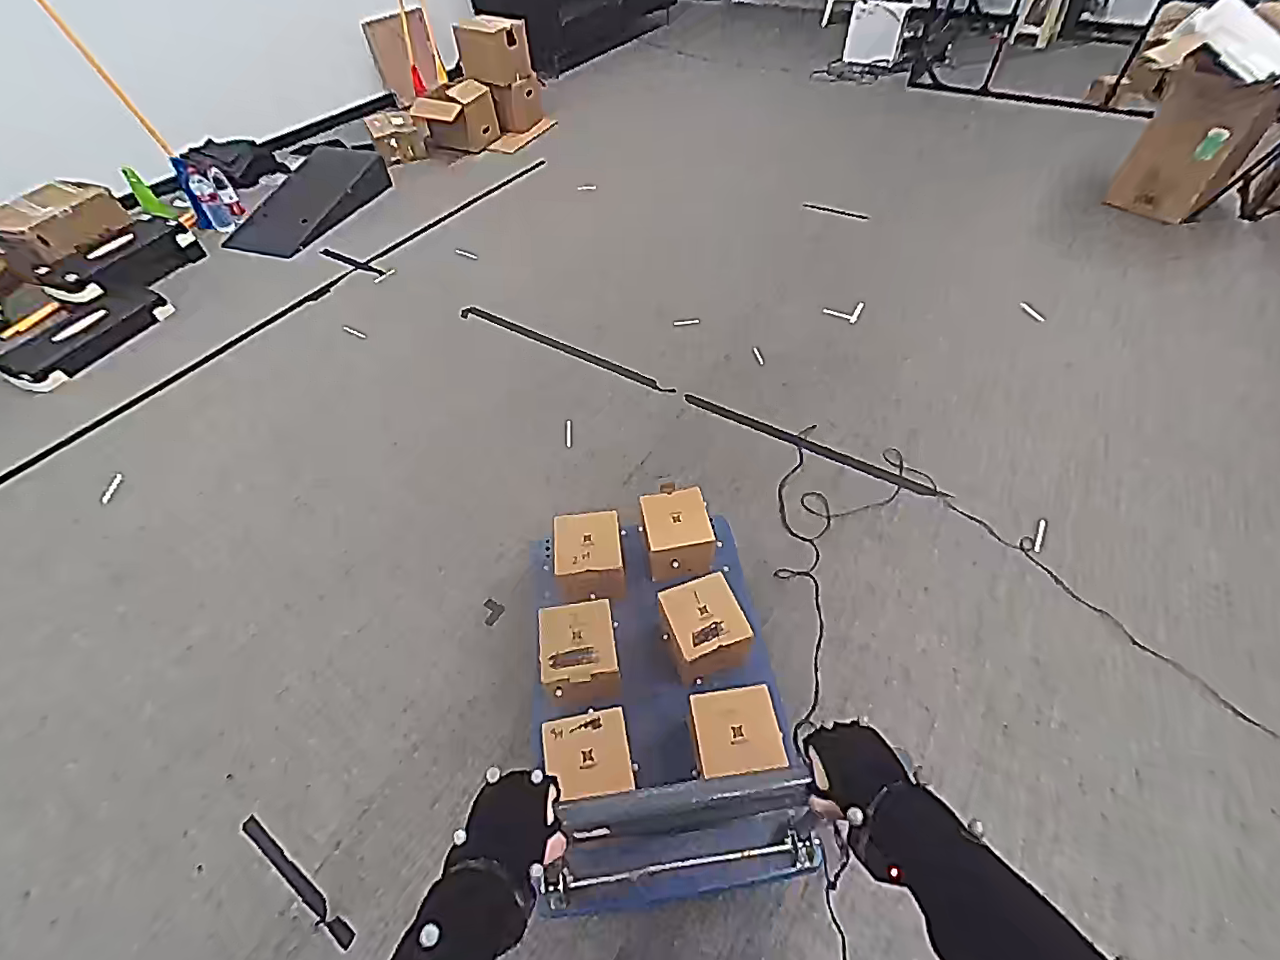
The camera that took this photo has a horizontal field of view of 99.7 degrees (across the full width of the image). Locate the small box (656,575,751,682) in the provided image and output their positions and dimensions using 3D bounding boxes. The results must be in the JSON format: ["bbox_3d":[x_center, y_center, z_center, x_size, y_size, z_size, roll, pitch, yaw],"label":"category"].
[{"bbox_3d":[0.146,0.361,1.290,0.168,0.176,0.179,-17,51,-11],"label":"small box"}]

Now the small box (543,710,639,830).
[{"bbox_3d":[-0.098,0.597,1.105,0.168,0.176,0.179,-10,52,-7],"label":"small box"}]

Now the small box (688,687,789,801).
[{"bbox_3d":[0.196,0.556,1.129,0.168,0.176,0.179,-7,50,-4],"label":"small box"}]

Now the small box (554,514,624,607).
[{"bbox_3d":[-0.133,0.212,1.420,0.168,0.176,0.179,-6,52,-3],"label":"small box"}]

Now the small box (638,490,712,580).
[{"bbox_3d":[0.092,0.155,1.460,0.168,0.176,0.179,-10,51,-6],"label":"small box"}]
